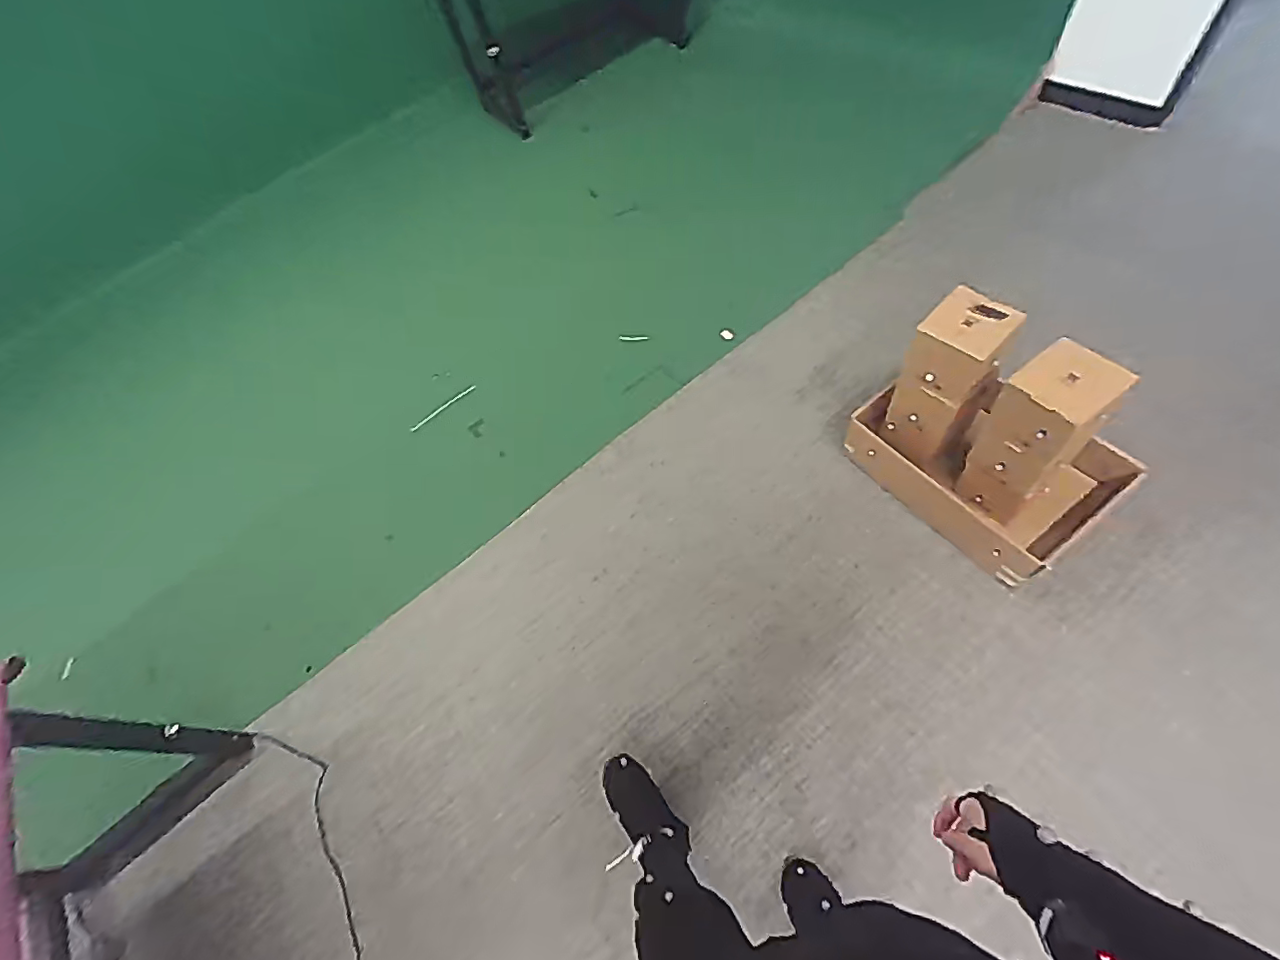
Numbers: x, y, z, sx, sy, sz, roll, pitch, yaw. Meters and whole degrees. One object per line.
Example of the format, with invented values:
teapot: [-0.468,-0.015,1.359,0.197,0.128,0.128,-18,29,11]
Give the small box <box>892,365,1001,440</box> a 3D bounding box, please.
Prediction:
small box: [0.806,-0.242,1.446,0.179,0.176,0.168,-37,61,-9]

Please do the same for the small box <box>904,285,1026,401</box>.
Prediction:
small box: [0.774,-0.328,1.309,0.179,0.176,0.168,-42,62,-12]

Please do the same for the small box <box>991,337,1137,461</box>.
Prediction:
small box: [0.918,-0.173,1.196,0.179,0.176,0.168,-35,58,-6]
